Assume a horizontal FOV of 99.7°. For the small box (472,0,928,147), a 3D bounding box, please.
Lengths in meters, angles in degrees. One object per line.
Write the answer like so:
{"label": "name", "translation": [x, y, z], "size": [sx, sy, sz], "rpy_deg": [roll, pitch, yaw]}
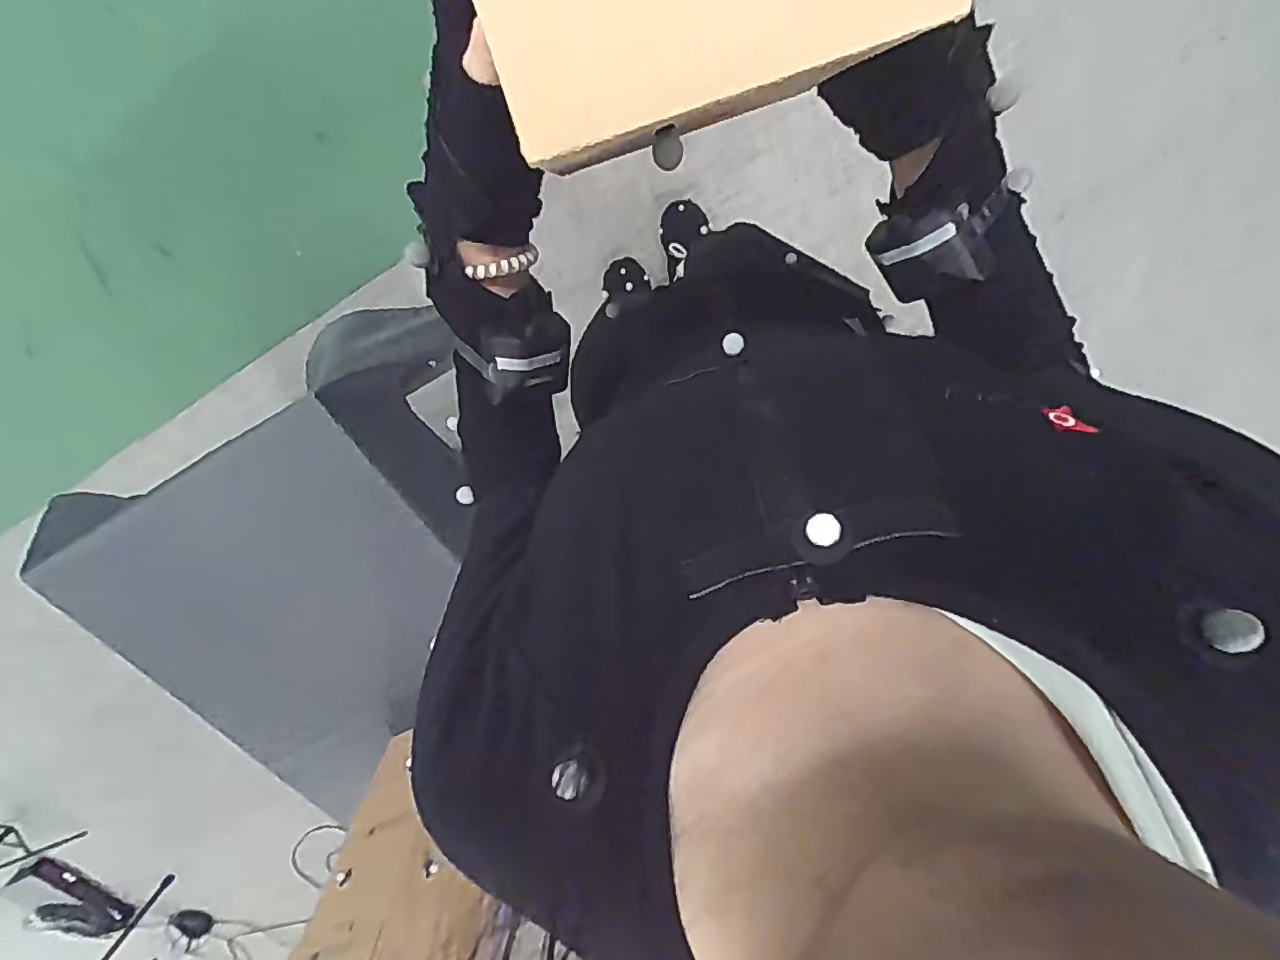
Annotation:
{"label": "small box", "translation": [0.006, -0.258, 0.224], "size": [0.168, 0.176, 0.179], "rpy_deg": [-16, 116, 5]}

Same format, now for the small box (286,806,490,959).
{"label": "small box", "translation": [-0.347, 0.608, 0.785], "size": [0.168, 0.176, 0.179], "rpy_deg": [-28, 112, 13]}
